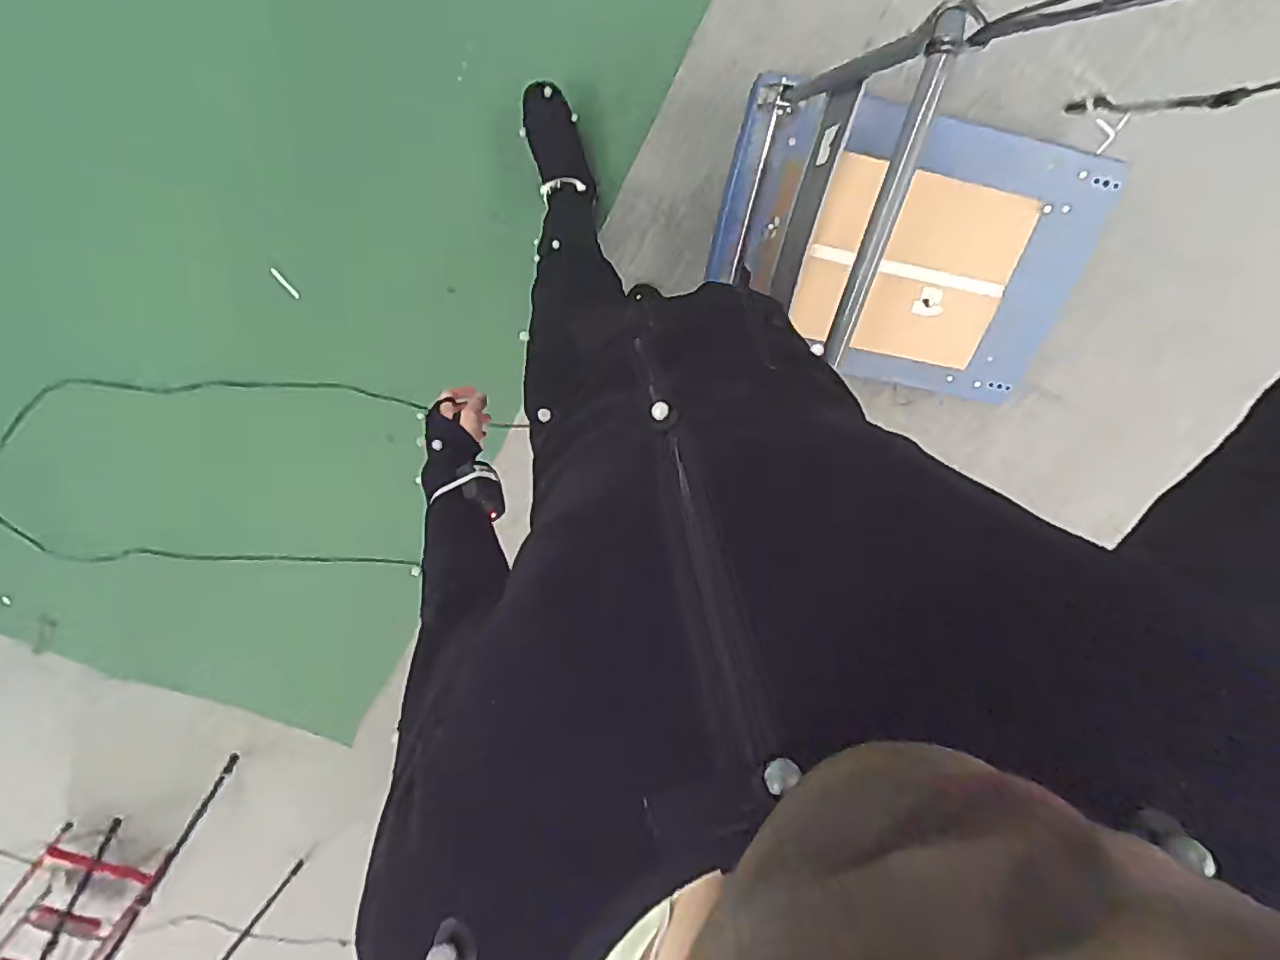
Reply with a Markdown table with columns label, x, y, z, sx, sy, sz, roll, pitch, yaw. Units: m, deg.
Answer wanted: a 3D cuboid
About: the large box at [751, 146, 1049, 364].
| label | x | y | z | sx | sy | sz | roll | pitch | yaw |
| --- | --- | --- | --- | --- | --- | --- | --- | --- | --- |
| large box | 0.489 | -0.462 | 1.120 | 0.408 | 0.320 | 0.320 | 10 | 117 | -8 |
